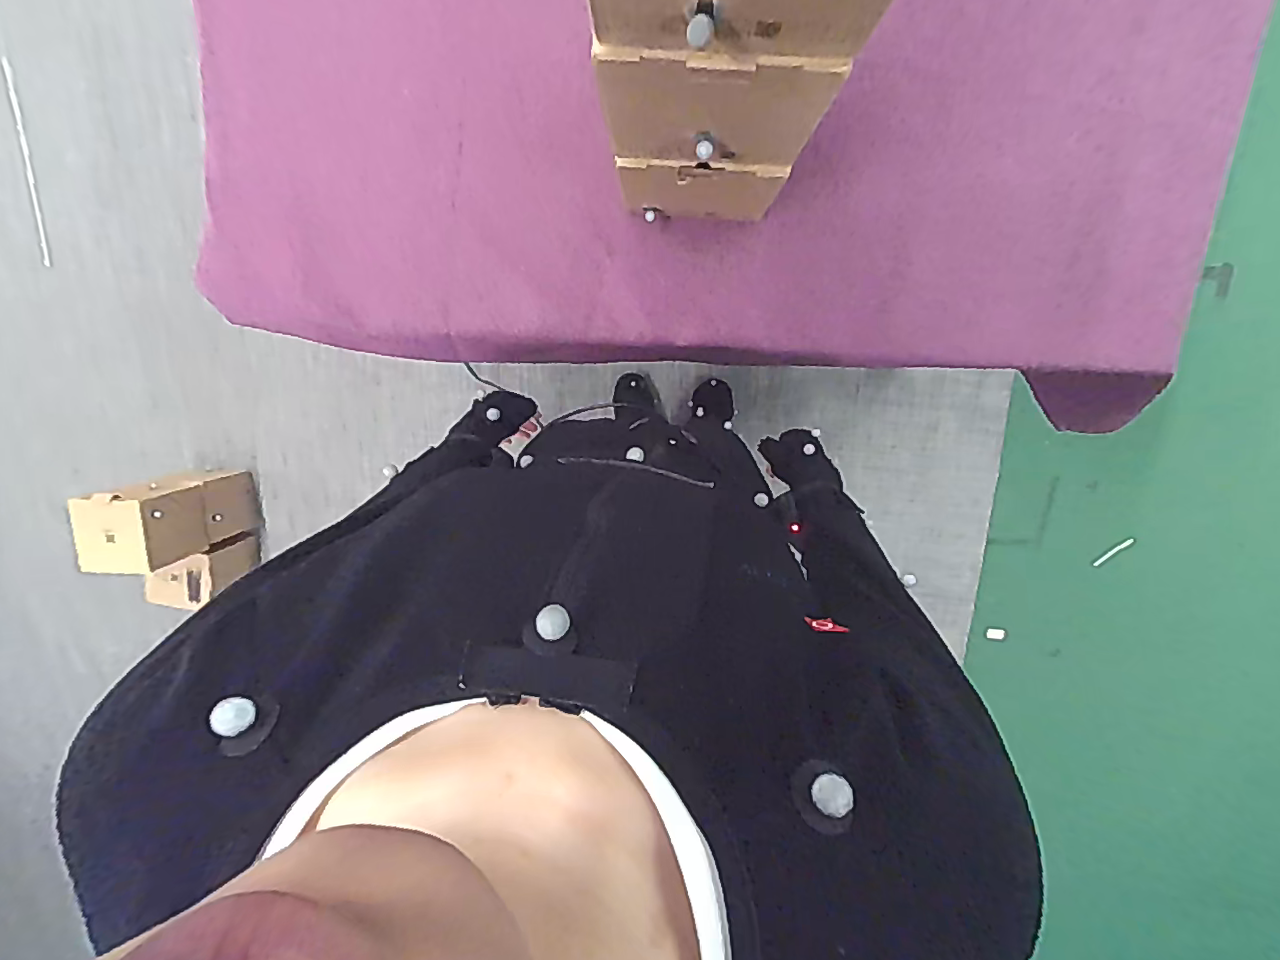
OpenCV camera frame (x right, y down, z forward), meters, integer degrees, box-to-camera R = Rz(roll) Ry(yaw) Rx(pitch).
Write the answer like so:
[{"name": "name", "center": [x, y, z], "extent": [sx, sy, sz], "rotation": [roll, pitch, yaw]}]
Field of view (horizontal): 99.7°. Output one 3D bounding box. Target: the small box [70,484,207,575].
[{"name": "small box", "center": [-1.185, 0.114, 1.294], "extent": [0.168, 0.176, 0.179], "rotation": [1, 101, 2]}]

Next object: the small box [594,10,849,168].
[{"name": "small box", "center": [0.060, -0.366, 0.408], "extent": [0.168, 0.176, 0.179], "rotation": [4, 102, 2]}]

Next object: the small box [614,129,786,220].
[{"name": "small box", "center": [0.067, -0.390, 0.571], "extent": [0.168, 0.176, 0.179], "rotation": [5, 101, 1]}]

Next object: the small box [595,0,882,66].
[{"name": "small box", "center": [0.055, -0.338, 0.248], "extent": [0.168, 0.176, 0.179], "rotation": [4, 102, 2]}]
